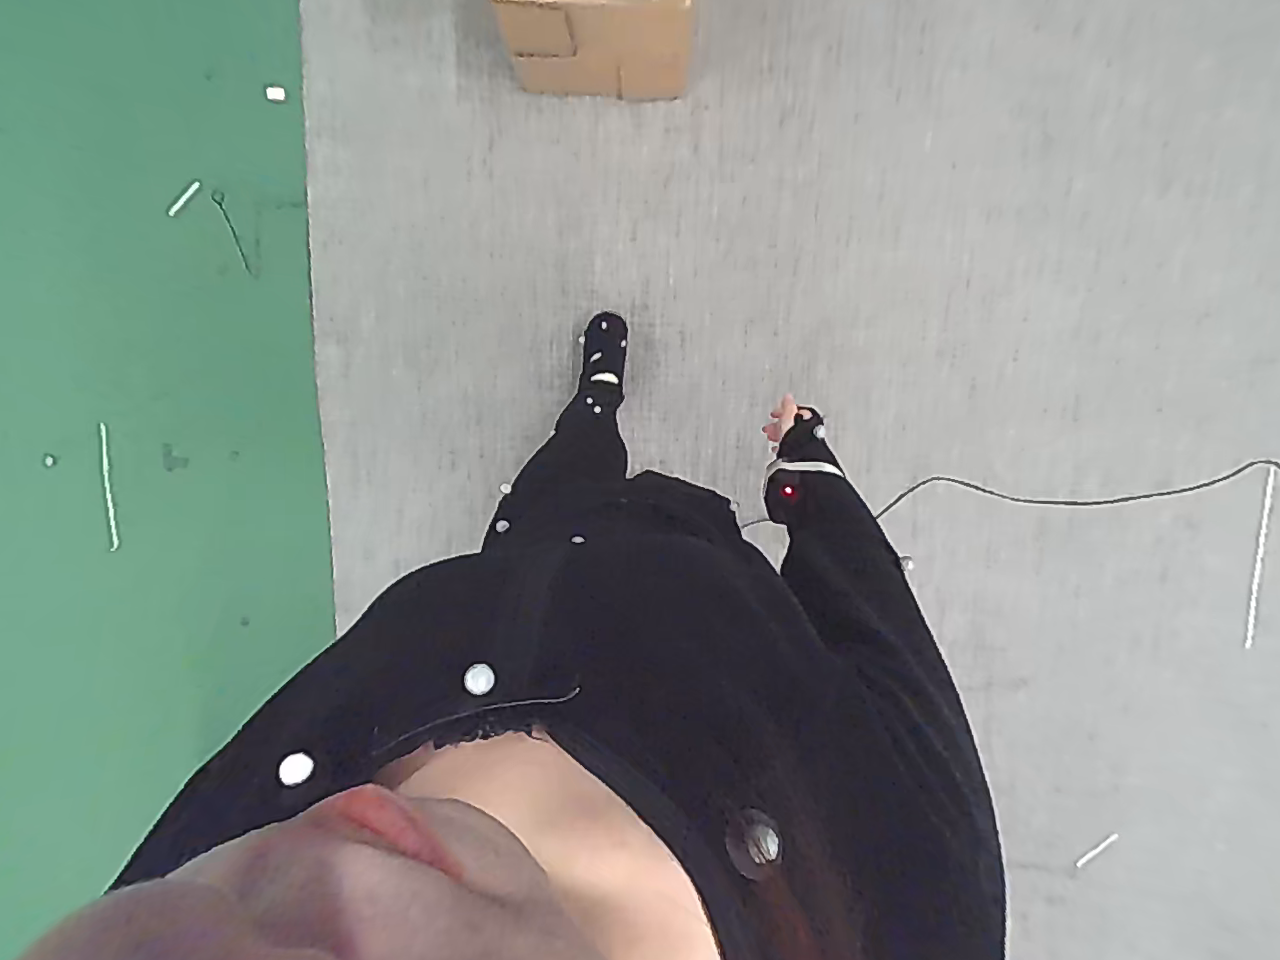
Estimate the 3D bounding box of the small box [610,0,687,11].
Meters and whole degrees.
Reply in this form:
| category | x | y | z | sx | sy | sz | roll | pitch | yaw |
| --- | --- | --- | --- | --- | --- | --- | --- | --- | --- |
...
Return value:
| category | x | y | z | sx | sy | sz | roll | pitch | yaw |
| --- | --- | --- | --- | --- | --- | --- | --- | --- | --- |
| small box | 0.016 | -0.998 | 0.963 | 0.168 | 0.176 | 0.179 | 7 | 95 | 2 |
